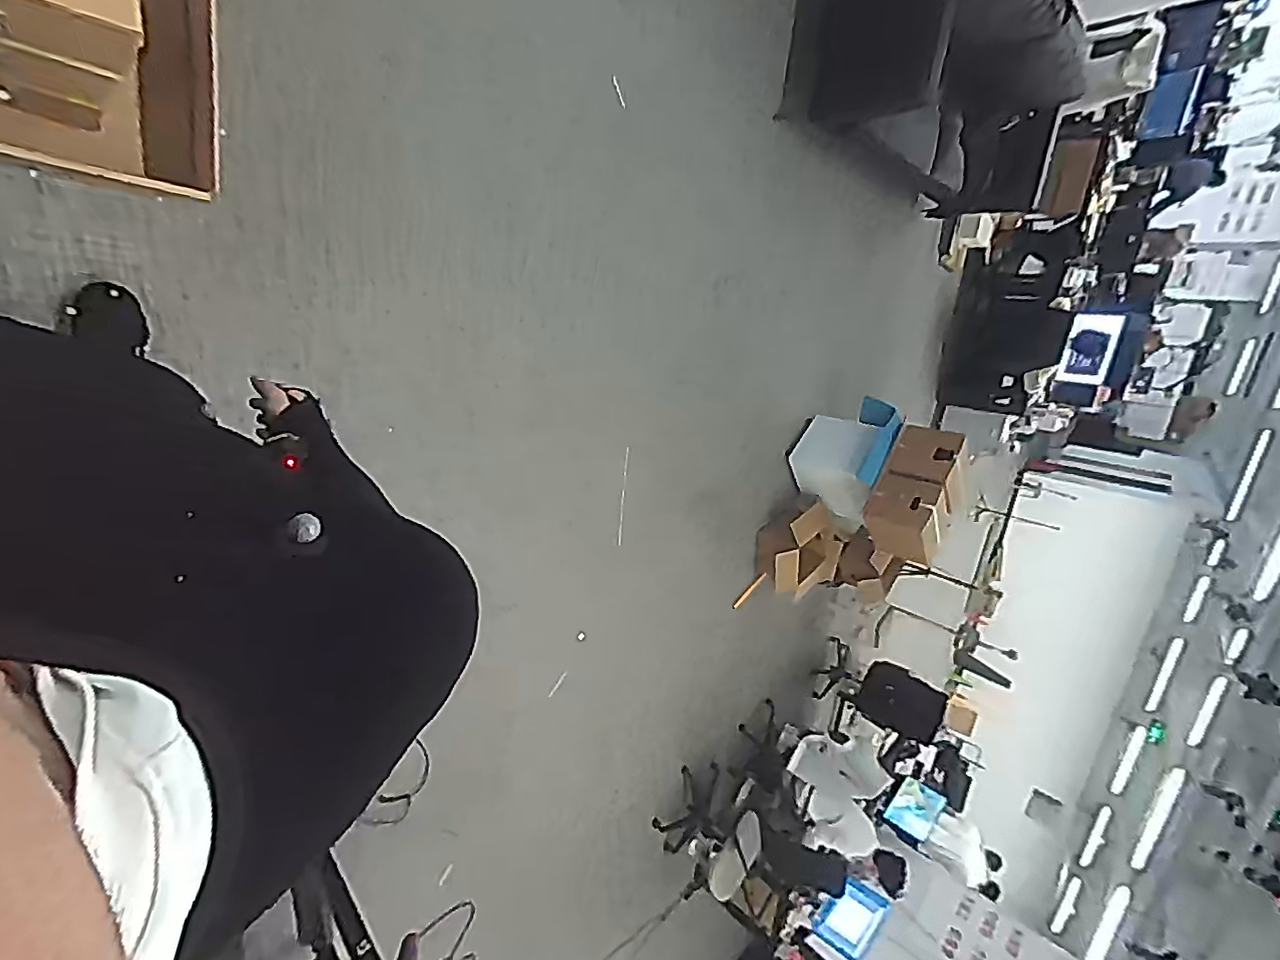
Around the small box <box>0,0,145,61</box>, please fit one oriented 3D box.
[{"bbox_3d":[-0.558,-0.494,0.460,0.179,0.176,0.168,-9,112,-45],"label":"small box"}]

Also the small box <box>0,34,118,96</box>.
[{"bbox_3d":[-0.678,-0.535,0.565,0.179,0.176,0.168,-8,112,-45],"label":"small box"}]

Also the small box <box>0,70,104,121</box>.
[{"bbox_3d":[-0.797,-0.576,0.670,0.179,0.176,0.168,-6,109,-48],"label":"small box"}]
